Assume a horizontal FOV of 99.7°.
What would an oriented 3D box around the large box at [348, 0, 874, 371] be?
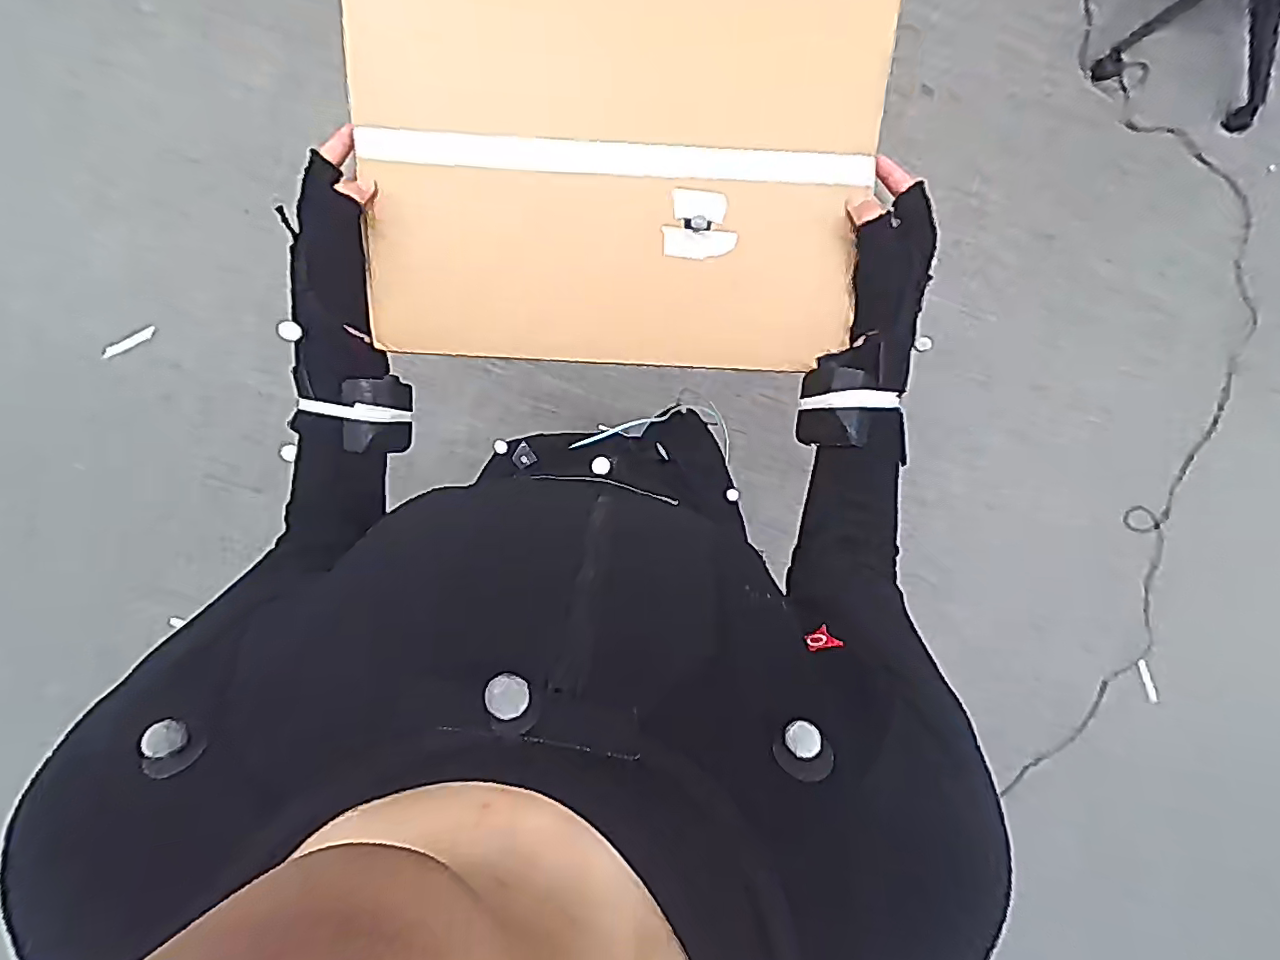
[{"bbox_3d":[-0.029,-0.288,0.580,0.408,0.320,0.320,2,107,-2],"label":"large box"}]
